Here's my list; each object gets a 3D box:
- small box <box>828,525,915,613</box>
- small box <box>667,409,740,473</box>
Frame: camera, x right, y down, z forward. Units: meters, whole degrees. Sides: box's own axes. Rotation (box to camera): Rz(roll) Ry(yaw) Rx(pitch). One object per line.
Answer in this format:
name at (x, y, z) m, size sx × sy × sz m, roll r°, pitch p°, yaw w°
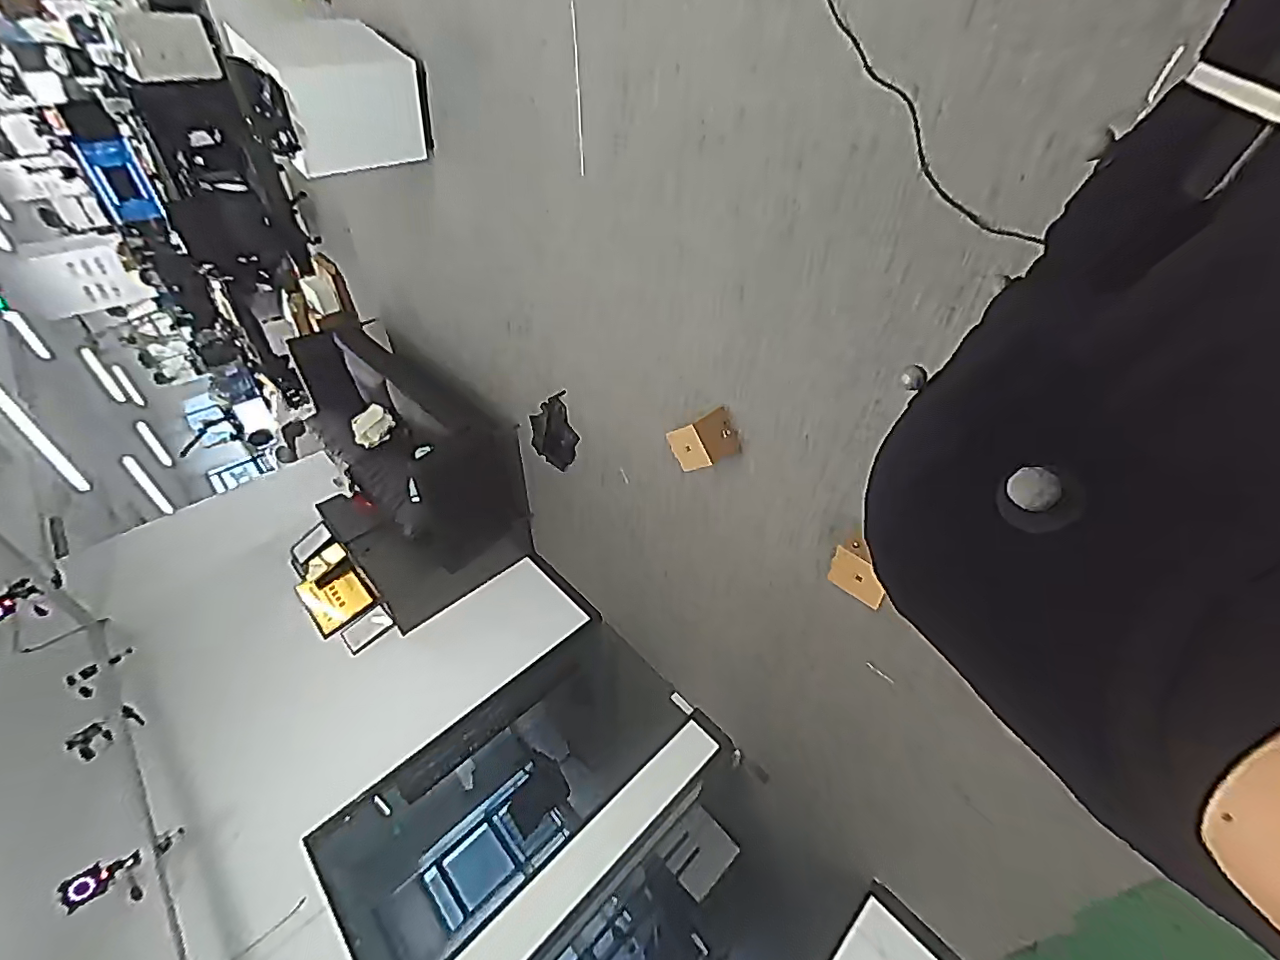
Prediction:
small box at (0.721, 0.270, 1.683) m, size 0.179 × 0.176 × 0.168 m, roll 35°, pitch 142°, yaw 34°
small box at (0.237, -0.144, 2.011) m, size 0.179 × 0.176 × 0.168 m, roll -15°, pitch 105°, yaw 57°
